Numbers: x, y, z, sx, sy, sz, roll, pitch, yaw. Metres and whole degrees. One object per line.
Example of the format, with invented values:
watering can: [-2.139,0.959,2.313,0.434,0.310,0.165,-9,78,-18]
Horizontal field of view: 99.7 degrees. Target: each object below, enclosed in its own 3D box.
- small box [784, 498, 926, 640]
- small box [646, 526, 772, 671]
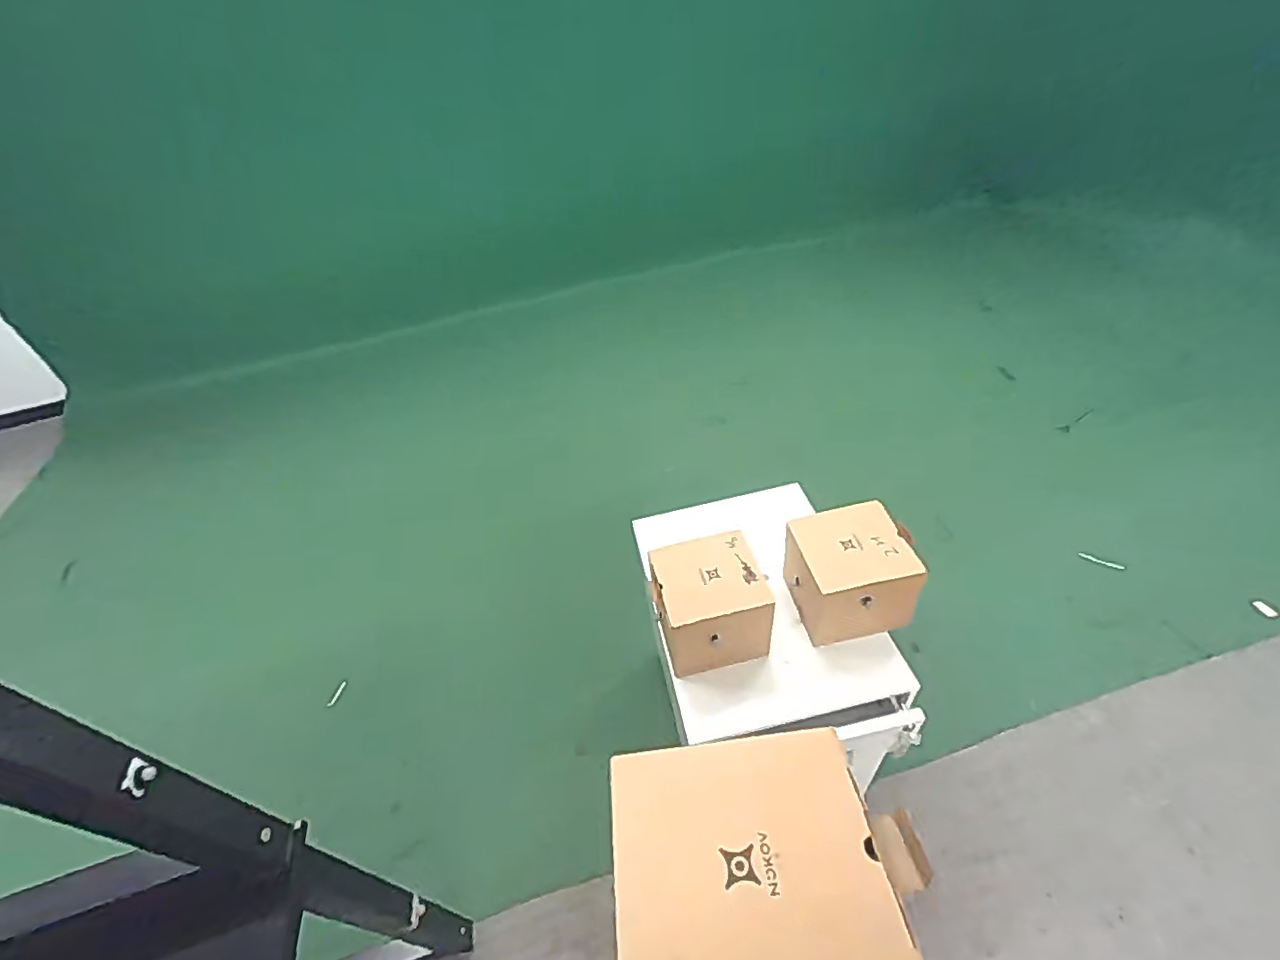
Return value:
small box: [0.364,0.161,0.956,0.179,0.176,0.168,-11,44,-2]
small box: [0.119,0.211,0.949,0.179,0.176,0.168,-13,44,-5]
